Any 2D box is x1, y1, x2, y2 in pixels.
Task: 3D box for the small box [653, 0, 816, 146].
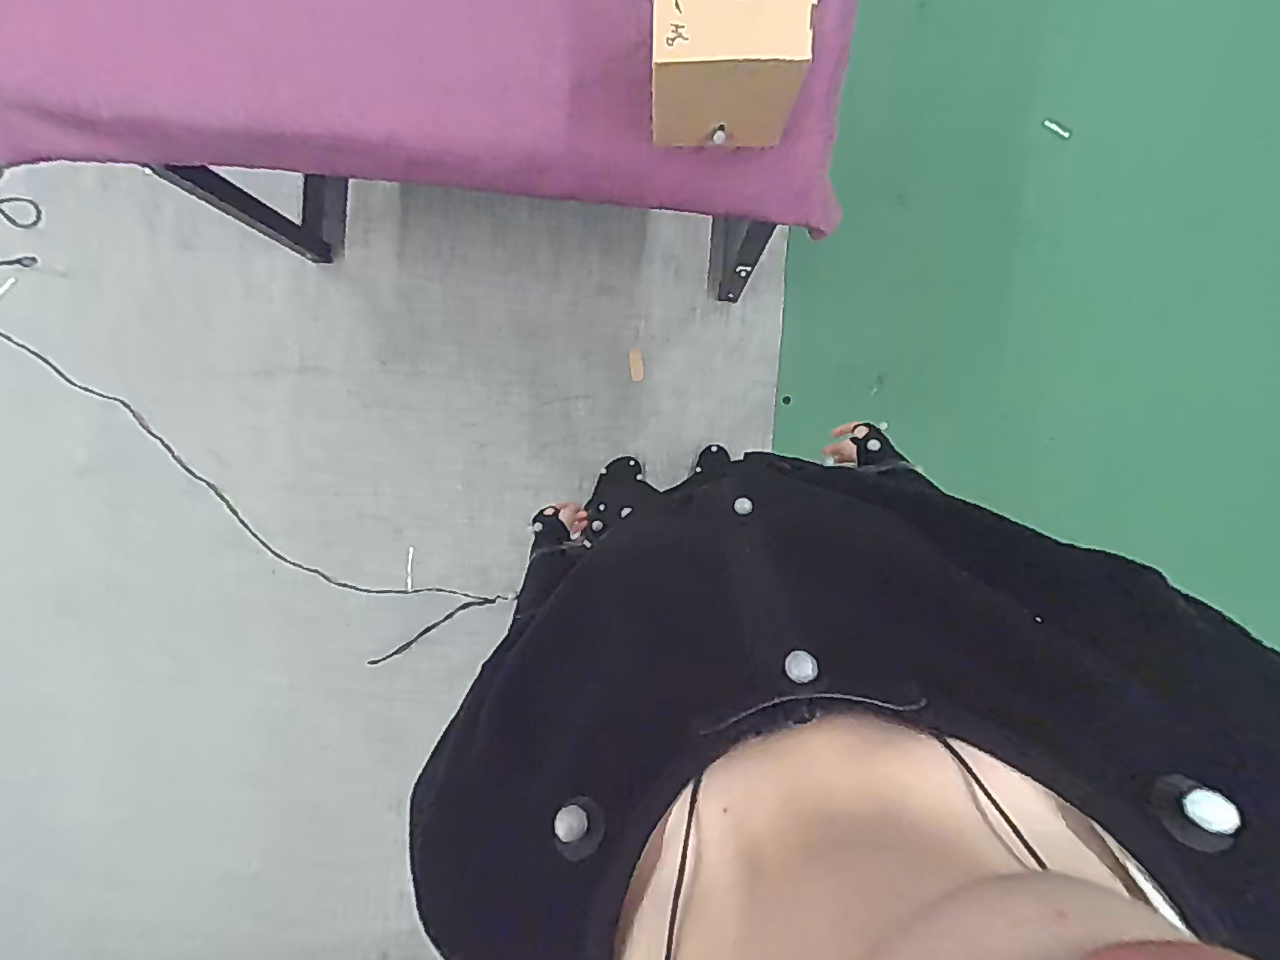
[{"bbox_3d":[0.106,-0.540,0.664,0.179,0.176,0.168,1,93,2],"label":"small box"}]
